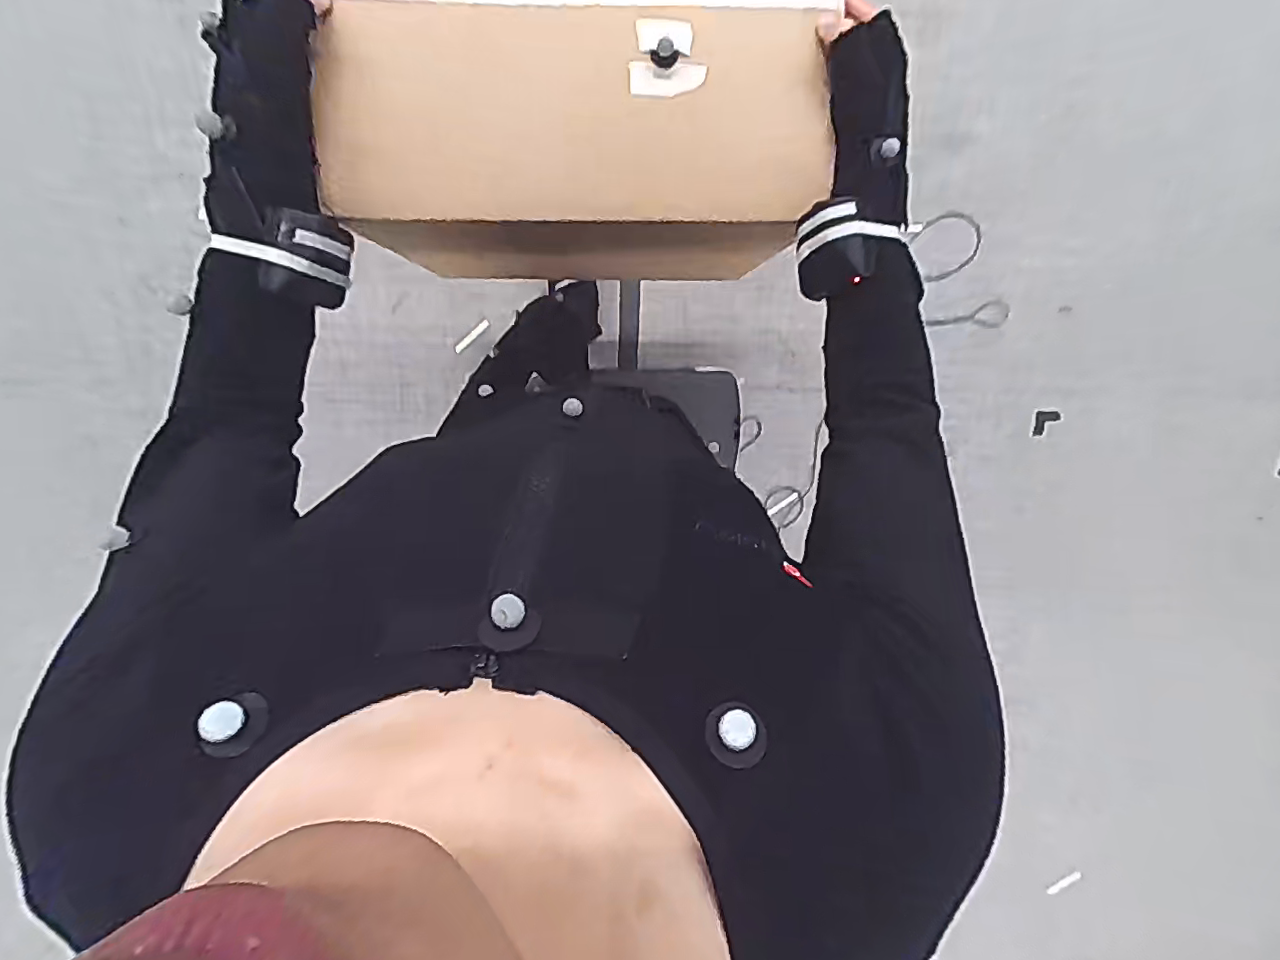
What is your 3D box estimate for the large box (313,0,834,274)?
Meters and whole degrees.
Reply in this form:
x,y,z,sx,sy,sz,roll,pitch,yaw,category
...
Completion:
x,y,z,sx,sy,sz,roll,pitch,yaw,category
-0.056,-0.404,0.555,0.408,0.320,0.320,-2,102,-4,large box
